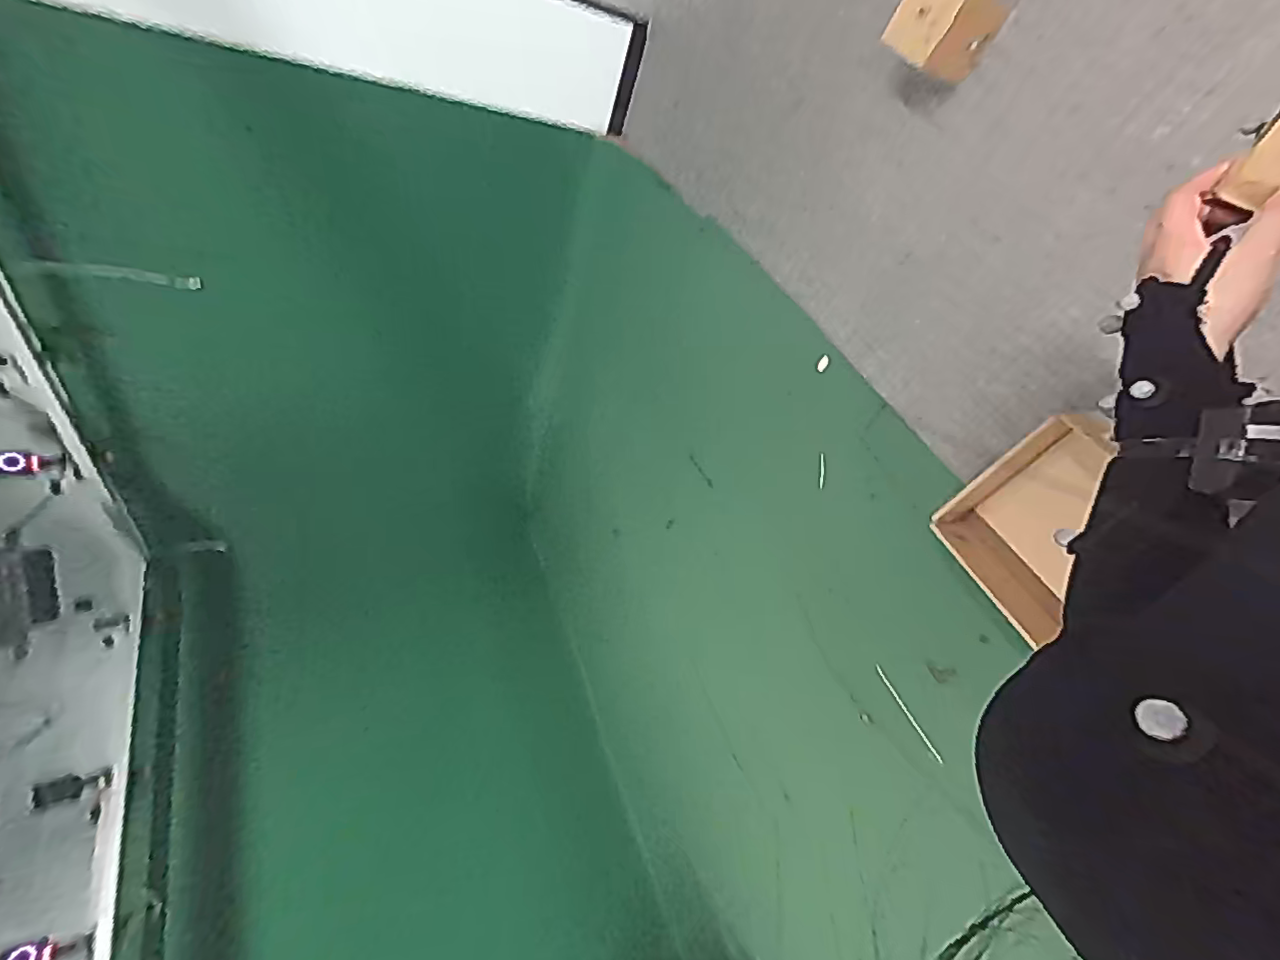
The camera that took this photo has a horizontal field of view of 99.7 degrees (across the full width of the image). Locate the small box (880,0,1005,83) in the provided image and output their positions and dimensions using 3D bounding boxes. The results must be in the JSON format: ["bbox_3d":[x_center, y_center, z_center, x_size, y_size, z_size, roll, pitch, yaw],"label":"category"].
[{"bbox_3d":[0.751,-1.133,1.349,0.179,0.176,0.168,65,145,27],"label":"small box"}]
